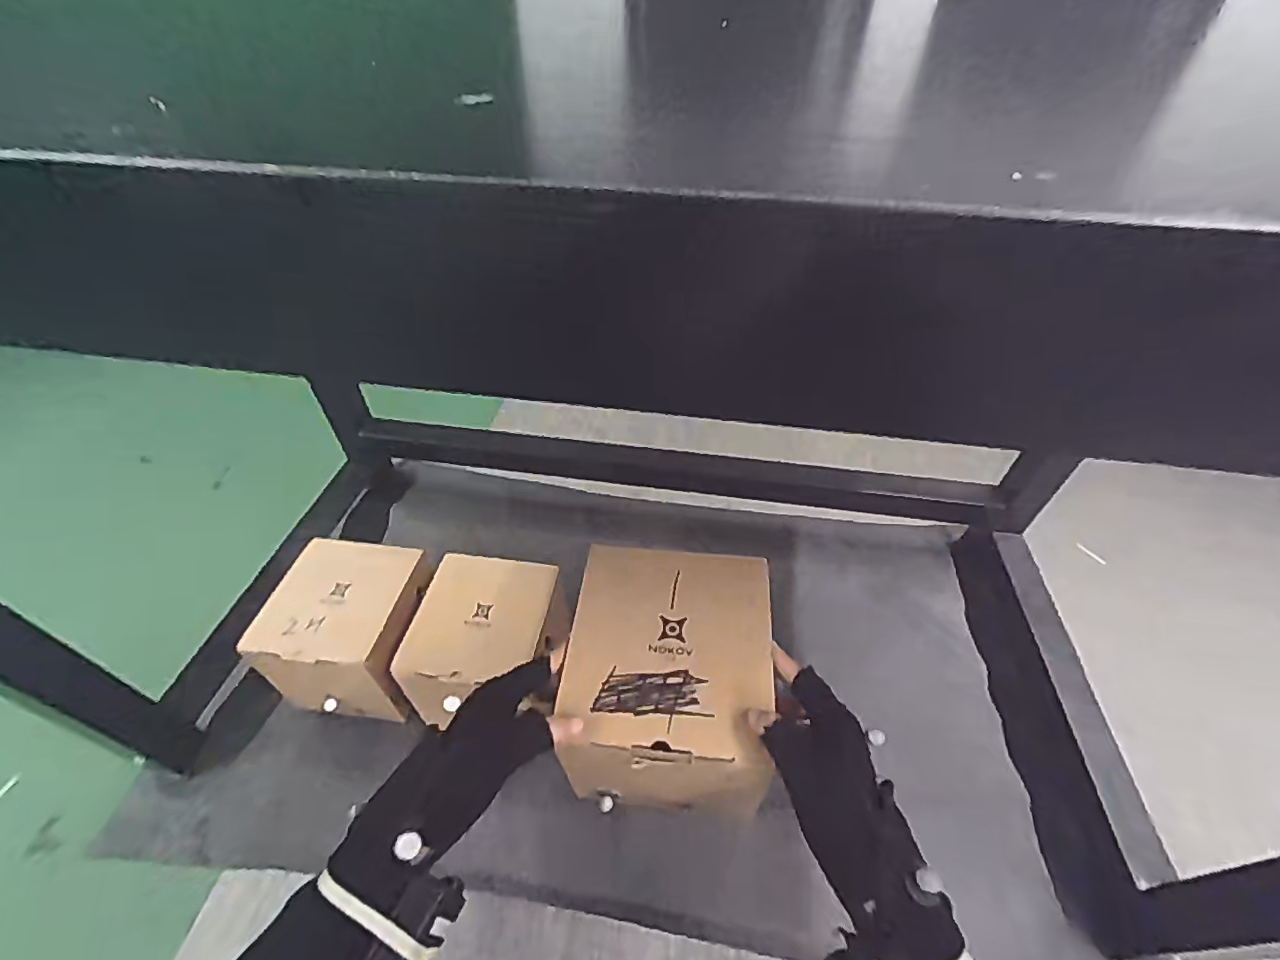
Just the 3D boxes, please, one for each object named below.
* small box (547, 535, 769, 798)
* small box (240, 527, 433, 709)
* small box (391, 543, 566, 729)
[{"bbox_3d":[0.025,0.174,0.501,0.168,0.176,0.179,4,47,6],"label":"small box"},{"bbox_3d":[-0.392,0.192,0.756,0.168,0.176,0.179,5,46,5],"label":"small box"},{"bbox_3d":[-0.202,0.213,0.740,0.168,0.176,0.179,6,46,6],"label":"small box"}]
